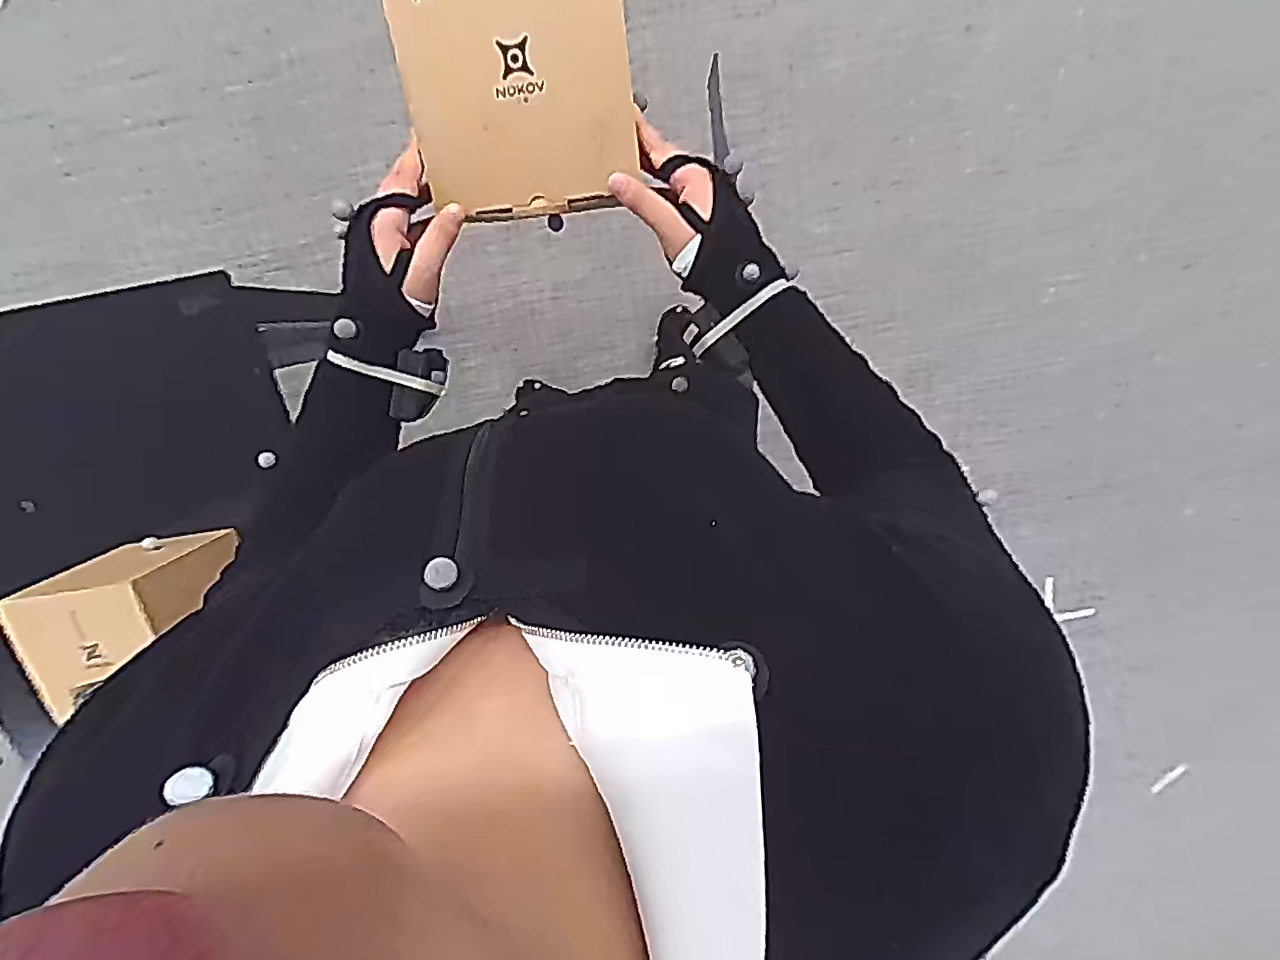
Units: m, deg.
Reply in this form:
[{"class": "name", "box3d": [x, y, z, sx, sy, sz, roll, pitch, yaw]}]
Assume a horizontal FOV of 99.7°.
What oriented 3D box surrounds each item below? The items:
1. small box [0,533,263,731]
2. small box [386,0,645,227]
[{"class": "small box", "box3d": [-0.639, 0.188, 0.701, 0.168, 0.176, 0.179, -9, 106, 2]}, {"class": "small box", "box3d": [-0.085, -0.322, 0.456, 0.168, 0.176, 0.179, -7, 116, 3]}]
